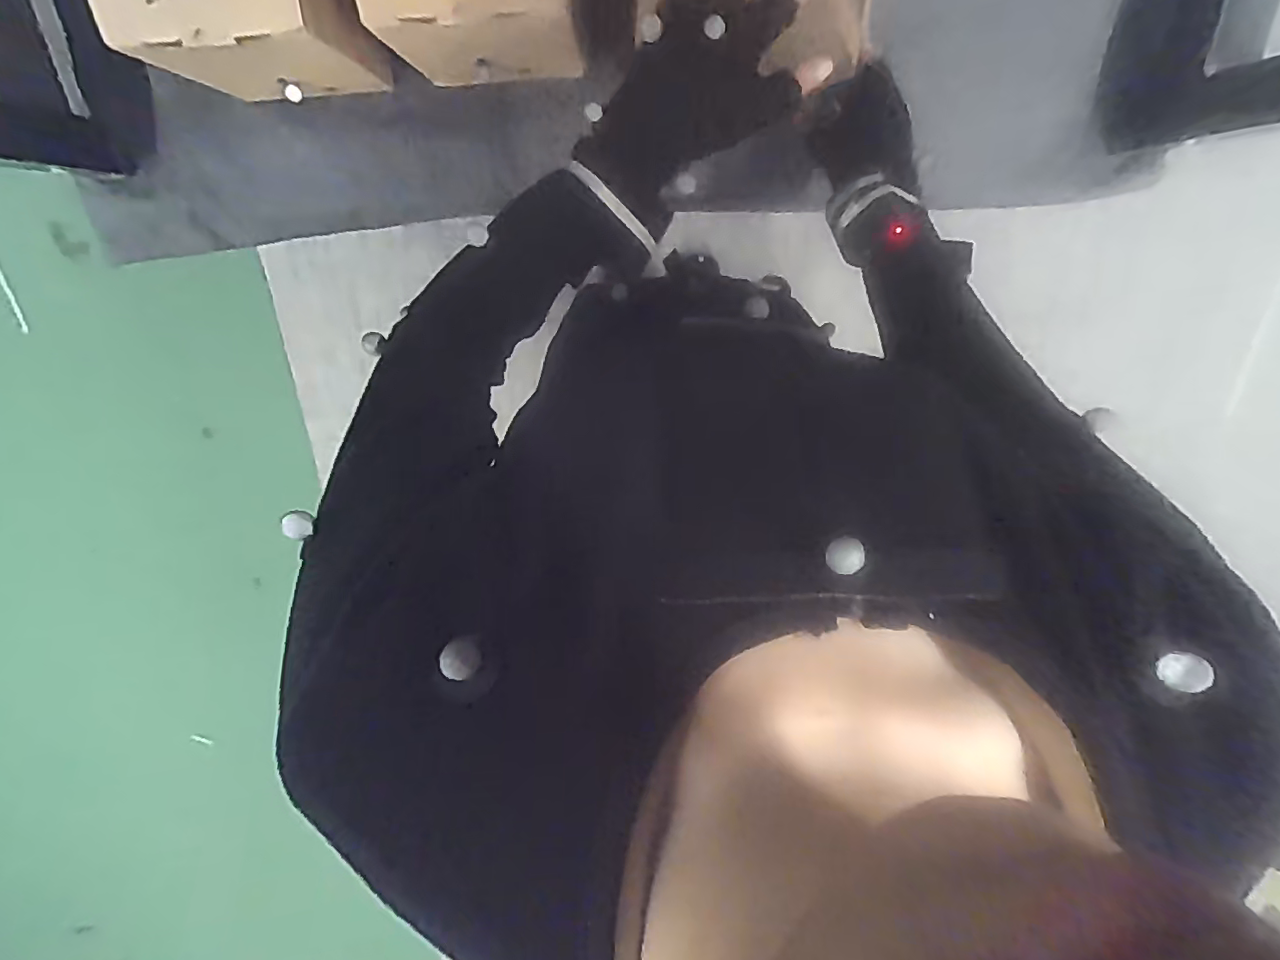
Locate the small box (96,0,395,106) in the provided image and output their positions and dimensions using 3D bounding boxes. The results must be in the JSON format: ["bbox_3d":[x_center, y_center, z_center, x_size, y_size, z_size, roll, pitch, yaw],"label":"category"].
[{"bbox_3d":[-0.344,-0.457,0.475,0.168,0.176,0.179,-3,112,2],"label":"small box"}]

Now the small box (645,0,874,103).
[{"bbox_3d":[0.109,-0.440,0.455,0.176,0.168,0.179,10,113,18],"label":"small box"}]
